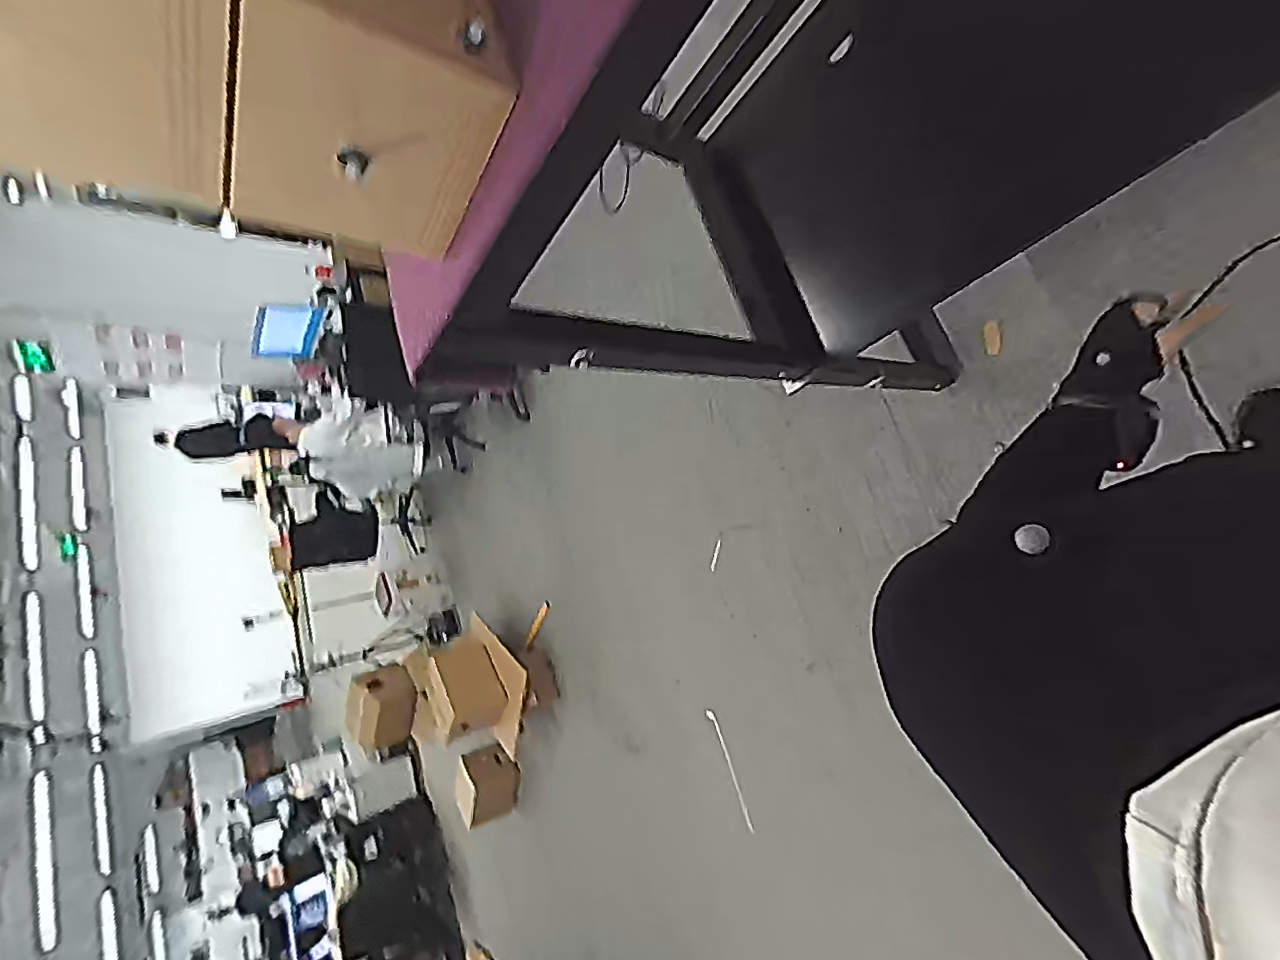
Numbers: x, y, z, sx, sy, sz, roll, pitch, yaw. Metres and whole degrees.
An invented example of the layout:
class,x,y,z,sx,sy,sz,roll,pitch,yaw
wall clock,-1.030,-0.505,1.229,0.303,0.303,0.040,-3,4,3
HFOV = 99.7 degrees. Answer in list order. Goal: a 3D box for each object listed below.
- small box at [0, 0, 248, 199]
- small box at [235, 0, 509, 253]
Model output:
class,x,y,z,sx,sy,sz,roll,pitch,yaw
small box,-0.342,-0.305,0.317,0.179,0.176,0.168,-33,69,45
small box,-0.218,-0.314,0.426,0.179,0.176,0.168,-36,67,46
